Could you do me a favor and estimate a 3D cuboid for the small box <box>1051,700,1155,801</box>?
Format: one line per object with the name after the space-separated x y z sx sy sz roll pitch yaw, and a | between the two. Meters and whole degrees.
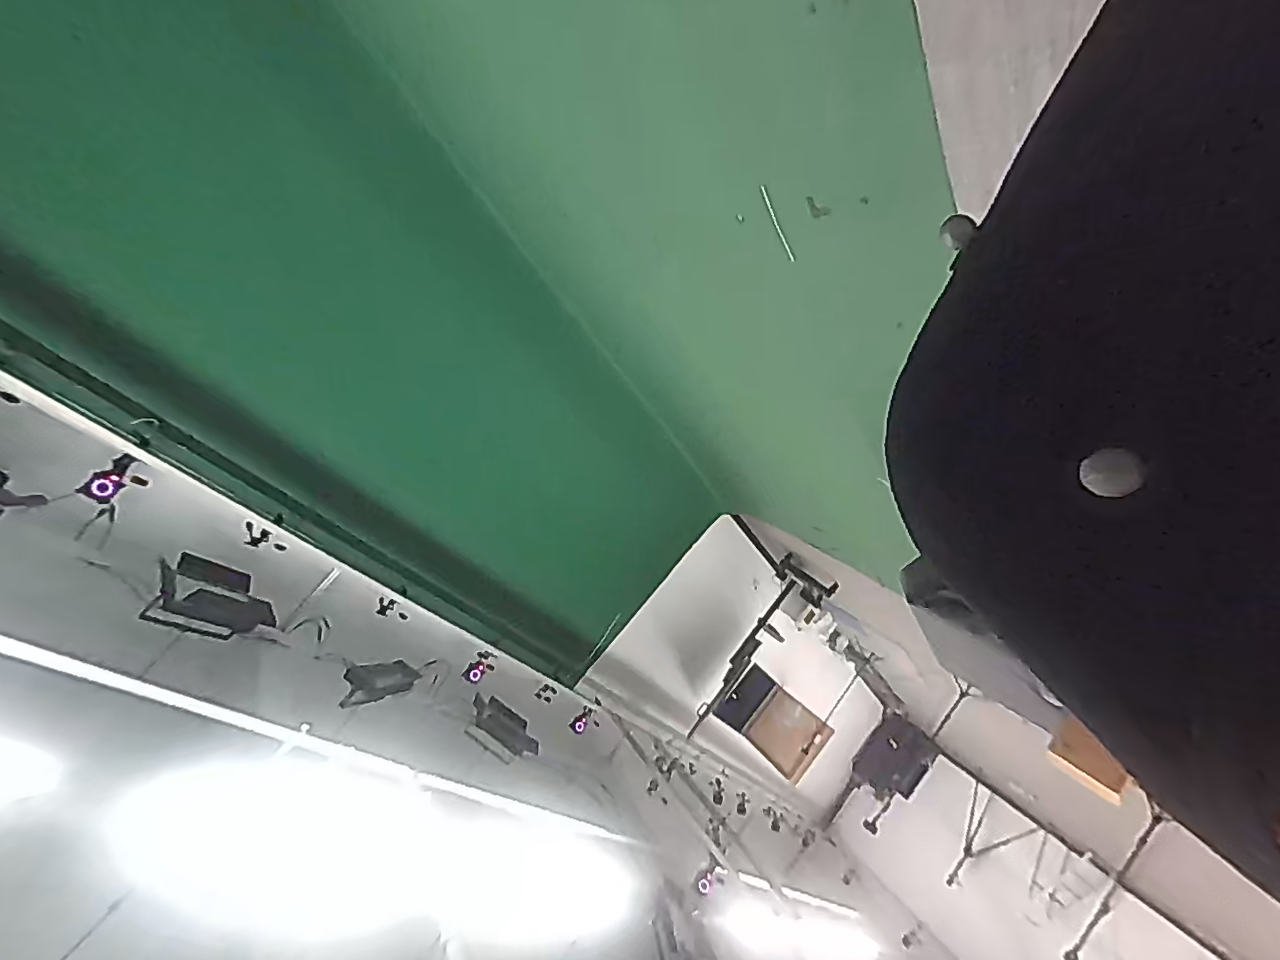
1.309 0.761 1.530 0.179 0.176 0.168 32 169 50 | small box
